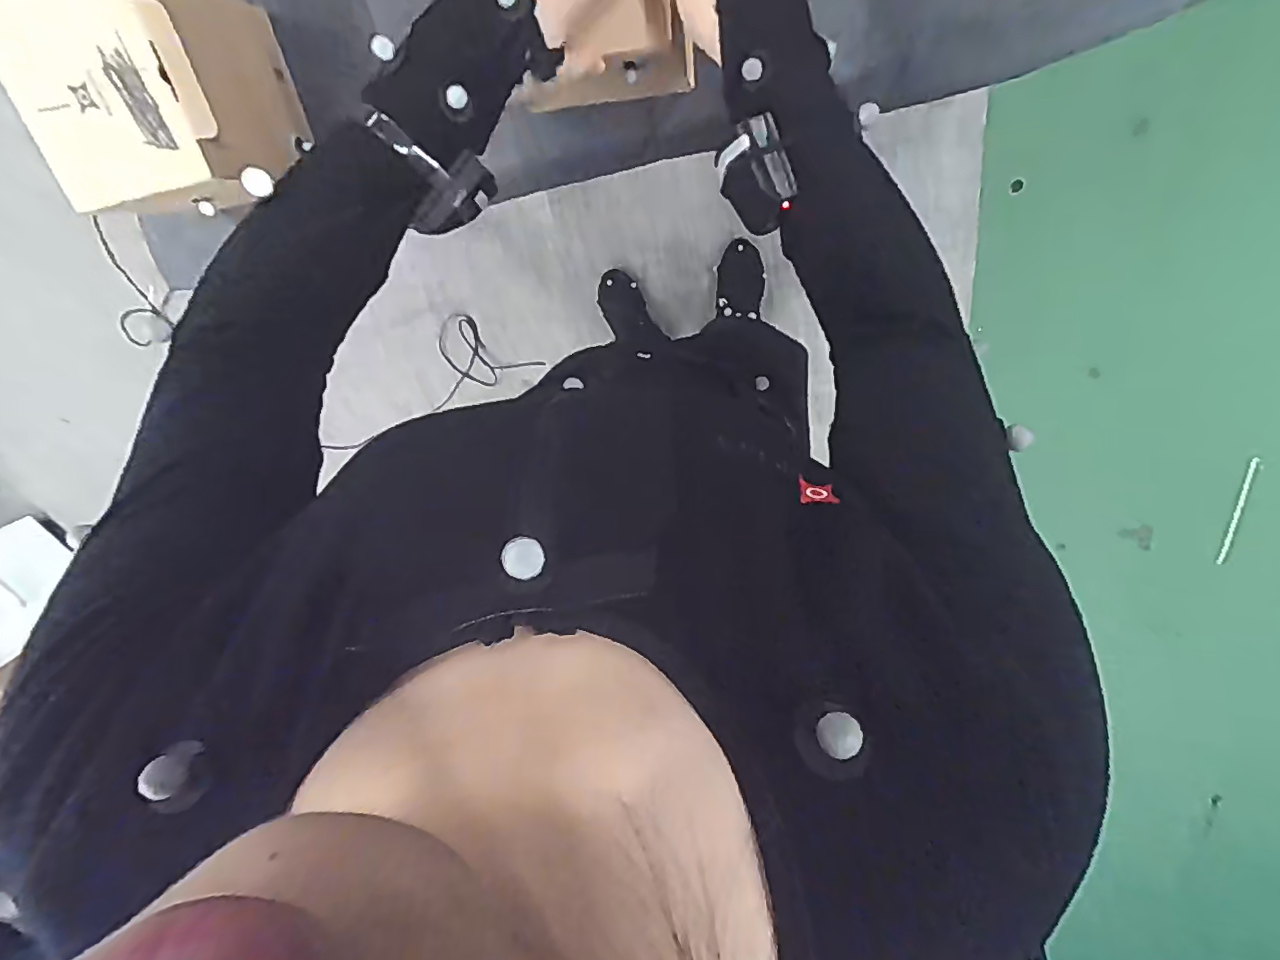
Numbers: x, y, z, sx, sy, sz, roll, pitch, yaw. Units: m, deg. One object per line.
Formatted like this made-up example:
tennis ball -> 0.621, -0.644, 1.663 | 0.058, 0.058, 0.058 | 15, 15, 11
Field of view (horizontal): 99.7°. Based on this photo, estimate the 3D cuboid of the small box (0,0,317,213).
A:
small box -> -0.475, -0.383, 0.557 | 0.179, 0.176, 0.168 | -5, 117, 13

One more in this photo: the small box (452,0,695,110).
small box -> -0.050, -0.431, 0.457 | 0.179, 0.176, 0.168 | -1, 116, 10
